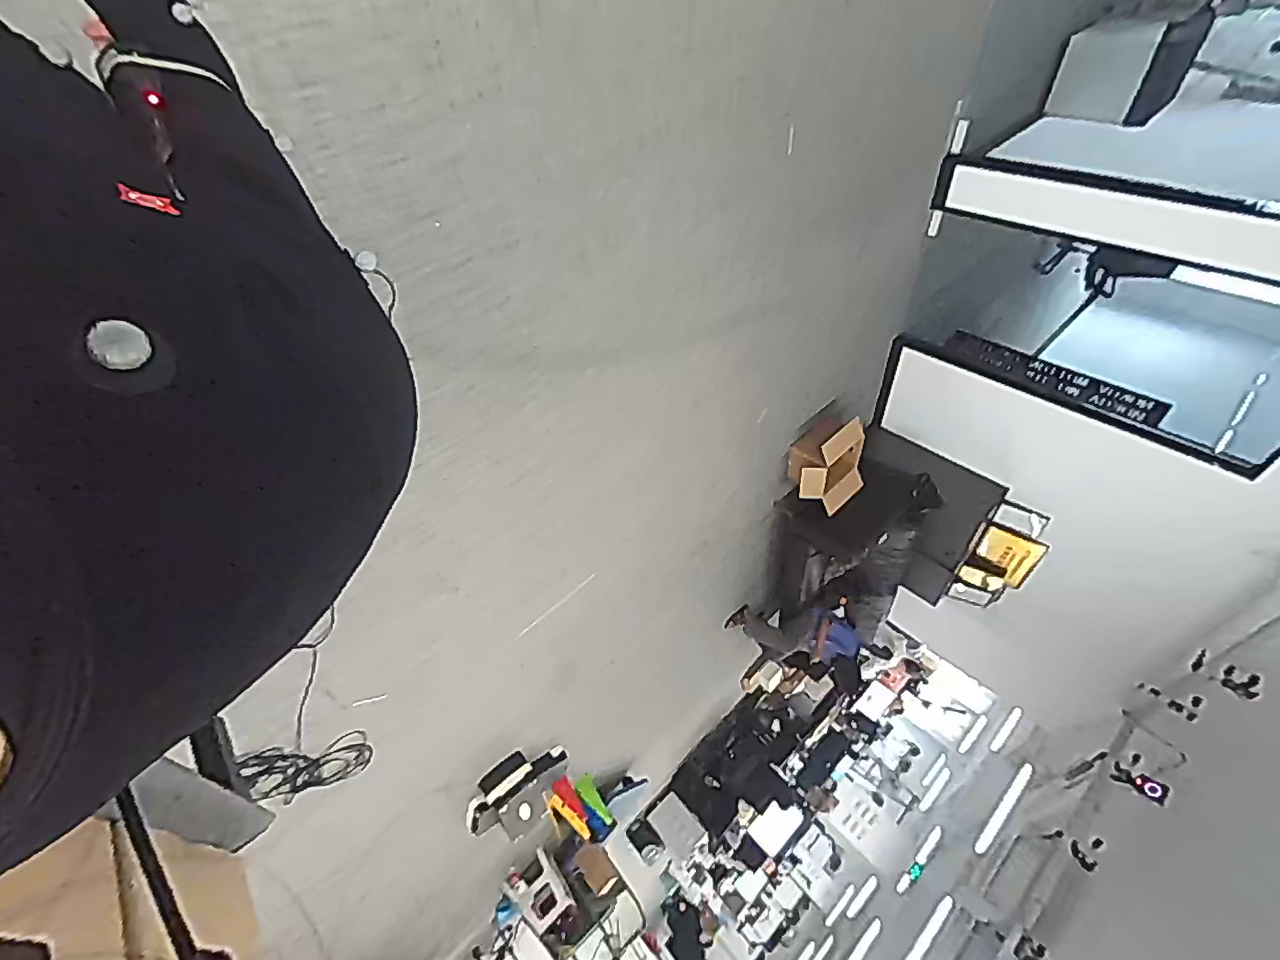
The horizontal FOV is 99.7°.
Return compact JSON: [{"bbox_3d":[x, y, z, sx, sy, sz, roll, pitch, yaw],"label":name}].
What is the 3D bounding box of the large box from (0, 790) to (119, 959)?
[{"bbox_3d":[-0.878,0.591,0.548,0.408,0.320,0.320,-37,144,-24],"label":"large box"}]
